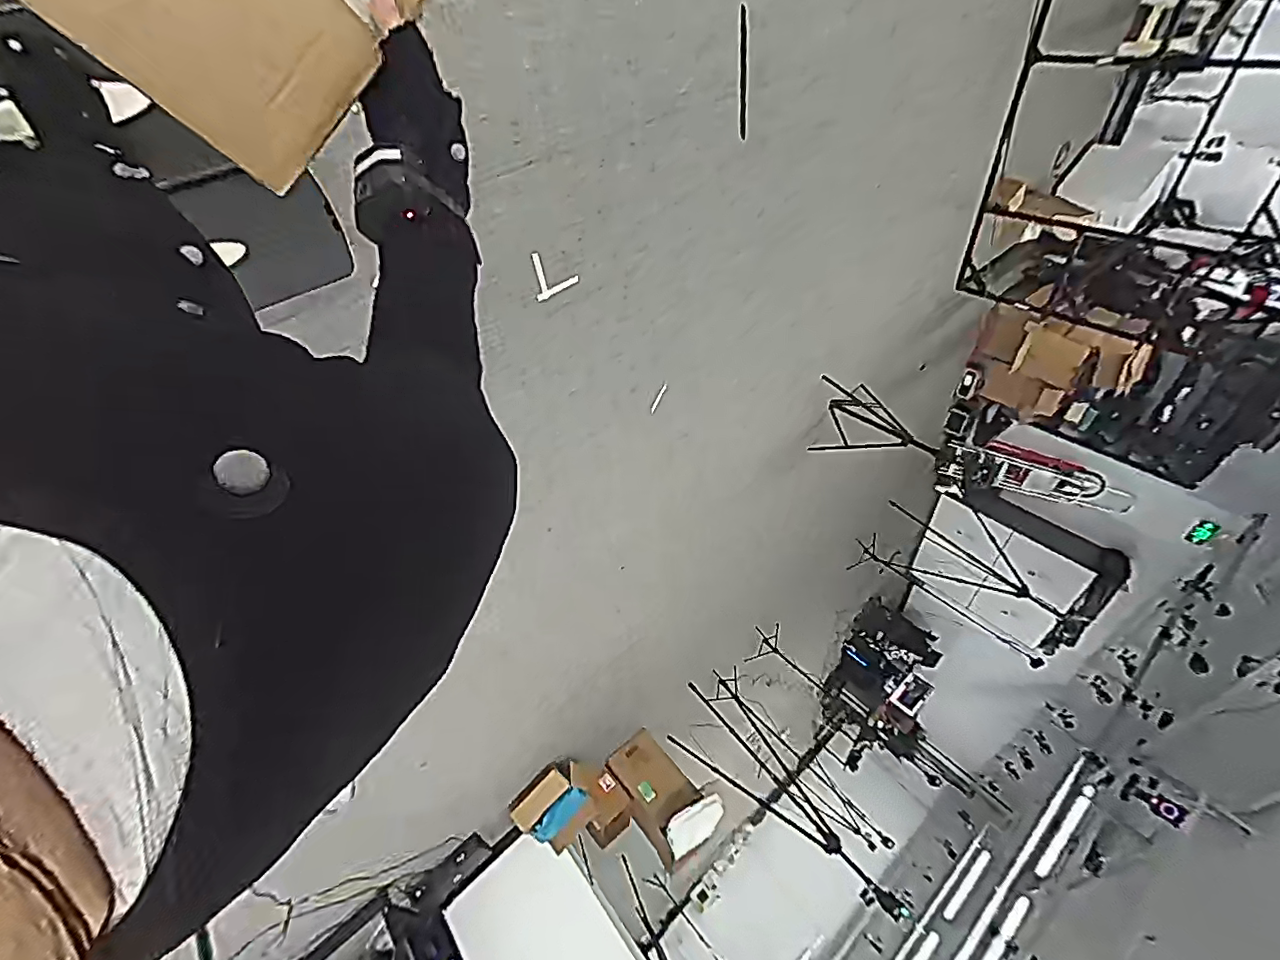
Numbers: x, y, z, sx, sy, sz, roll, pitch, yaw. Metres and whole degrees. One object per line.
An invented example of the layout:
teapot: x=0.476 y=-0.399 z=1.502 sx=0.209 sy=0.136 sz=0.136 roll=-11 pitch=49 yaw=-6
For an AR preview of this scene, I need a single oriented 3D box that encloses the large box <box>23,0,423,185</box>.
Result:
large box: x=-0.389 y=-0.511 z=0.409 sx=0.320 sy=0.320 sz=0.408 roll=-50 pitch=133 yaw=7
